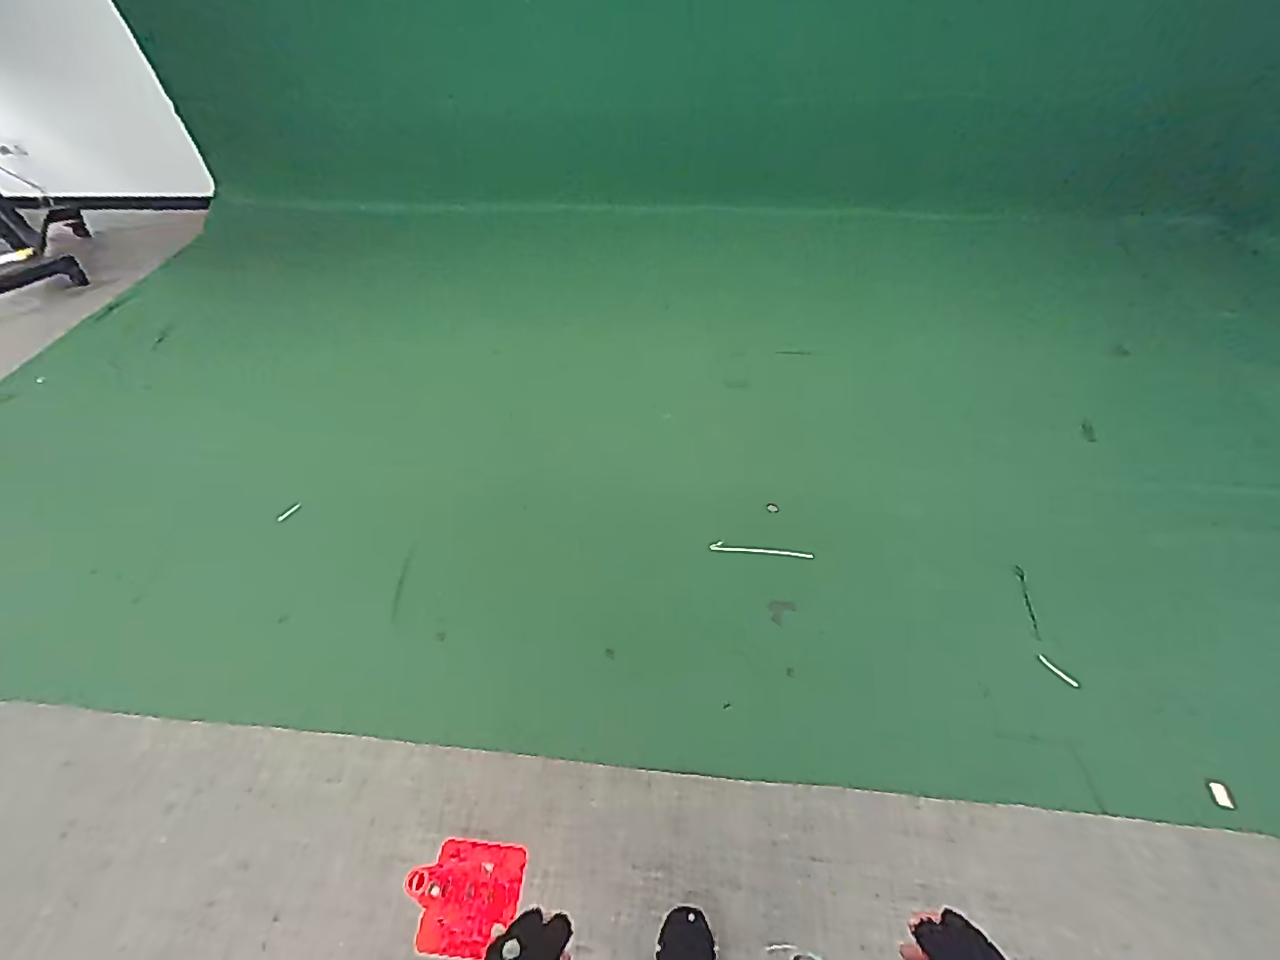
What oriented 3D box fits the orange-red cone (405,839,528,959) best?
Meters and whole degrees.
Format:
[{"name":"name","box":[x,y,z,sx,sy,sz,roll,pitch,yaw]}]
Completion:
[{"name":"orange-red cone","box":[-0.362,0.790,1.034,0.198,0.360,0.199,3,50,7]}]
